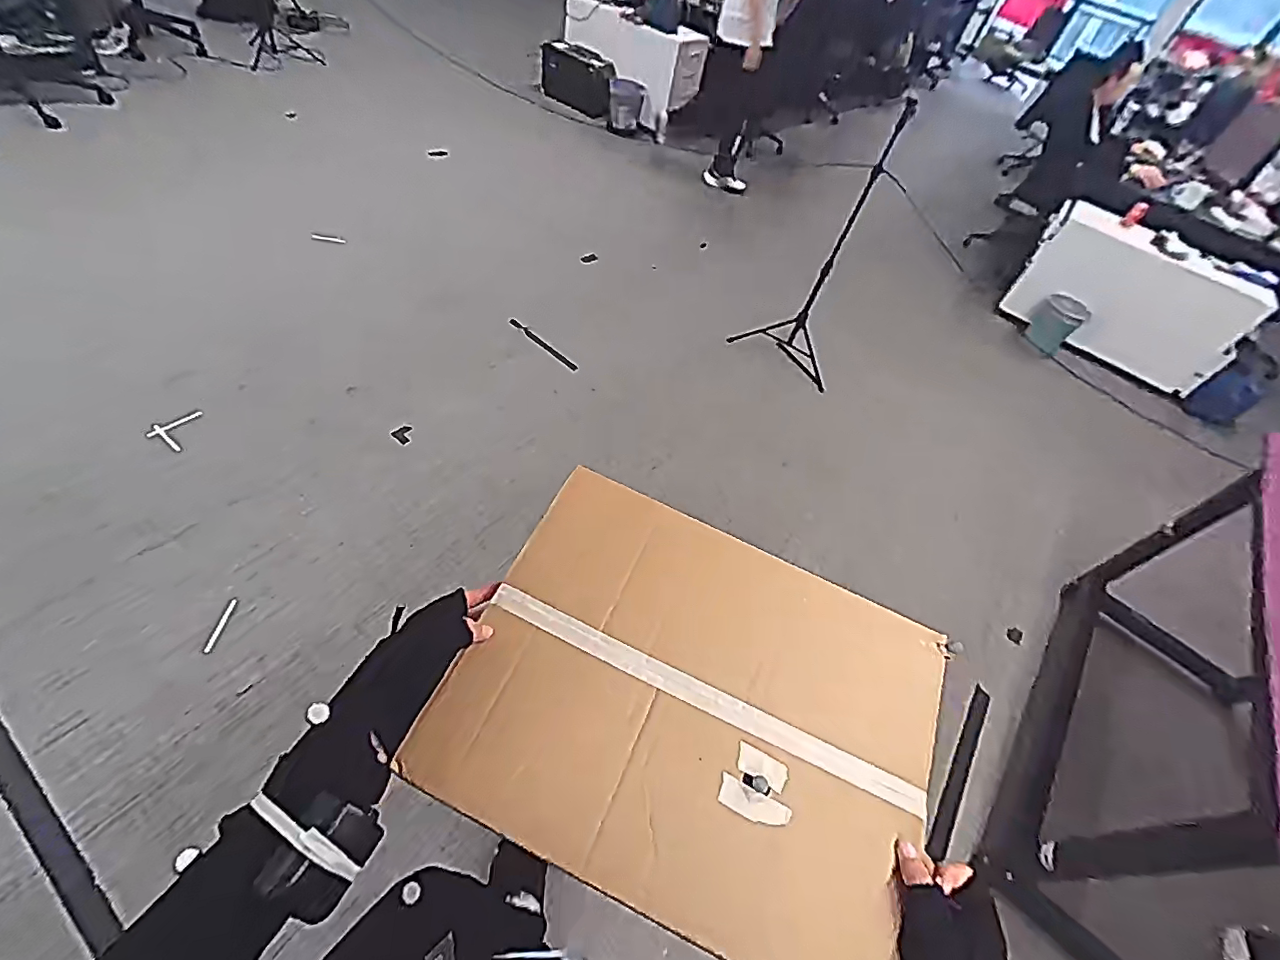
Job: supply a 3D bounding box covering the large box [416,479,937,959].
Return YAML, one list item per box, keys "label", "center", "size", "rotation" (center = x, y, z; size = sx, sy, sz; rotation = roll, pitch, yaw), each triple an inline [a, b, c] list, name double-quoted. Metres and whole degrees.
- label: "large box"
  center: [0.037, 0.266, 0.610]
  size: [0.408, 0.320, 0.320]
  rotation: [25, 60, 6]
